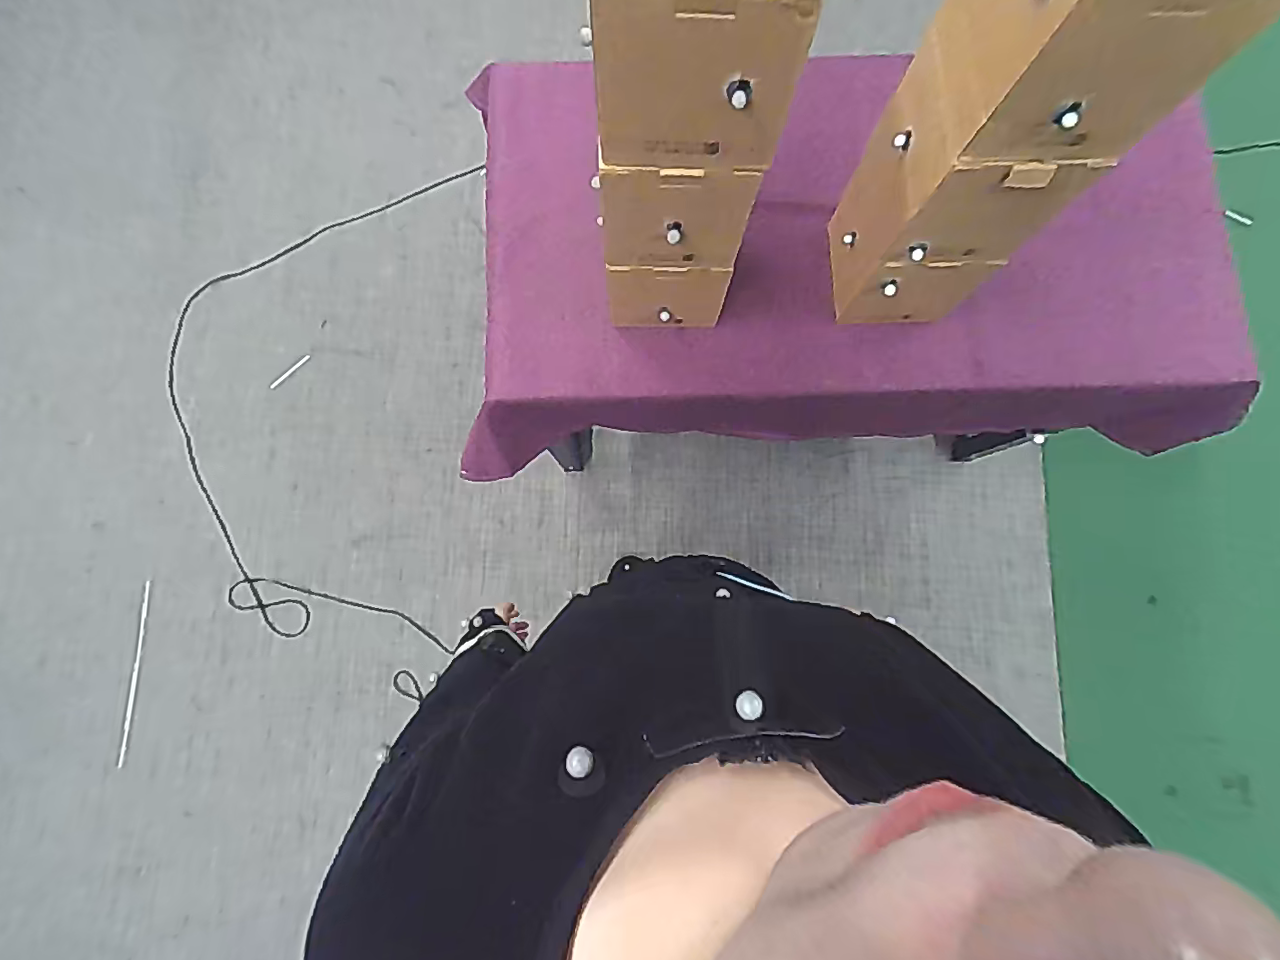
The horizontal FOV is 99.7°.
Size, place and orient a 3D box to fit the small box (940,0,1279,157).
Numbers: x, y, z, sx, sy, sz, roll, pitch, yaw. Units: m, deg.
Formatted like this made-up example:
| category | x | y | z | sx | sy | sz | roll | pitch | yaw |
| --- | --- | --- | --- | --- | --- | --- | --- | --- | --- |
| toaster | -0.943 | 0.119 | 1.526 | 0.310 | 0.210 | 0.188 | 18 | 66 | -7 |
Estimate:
| category | x | y | z | sx | sy | sz | roll | pitch | yaw |
| --- | --- | --- | --- | --- | --- | --- | --- | --- | --- |
| small box | 0.388 | -0.417 | 0.467 | 0.168 | 0.176 | 0.179 | -2 | 80 | -1 |

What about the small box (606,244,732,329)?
| category | x | y | z | sx | sy | sz | roll | pitch | yaw |
| --- | --- | --- | --- | --- | --- | --- | --- | --- | --- |
| small box | 0.038 | -0.339 | 0.784 | 0.168 | 0.176 | 0.179 | 0 | 80 | 0 |

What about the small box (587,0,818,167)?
| category | x | y | z | sx | sy | sz | roll | pitch | yaw |
| --- | --- | --- | --- | --- | --- | --- | --- | --- | --- |
| small box | 0.049 | -0.403 | 0.462 | 0.168 | 0.176 | 0.179 | 3 | 79 | 0 |

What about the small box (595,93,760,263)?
| category | x | y | z | sx | sy | sz | roll | pitch | yaw |
| --- | --- | --- | --- | --- | --- | --- | --- | --- | --- |
| small box | 0.038 | -0.371 | 0.623 | 0.168 | 0.176 | 0.179 | 0 | 81 | -1 |

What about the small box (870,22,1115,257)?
| category | x | y | z | sx | sy | sz | roll | pitch | yaw |
| --- | --- | --- | --- | --- | --- | --- | --- | --- | --- |
| small box | 0.386 | -0.379 | 0.626 | 0.168 | 0.176 | 0.179 | -1 | 79 | 0 |
